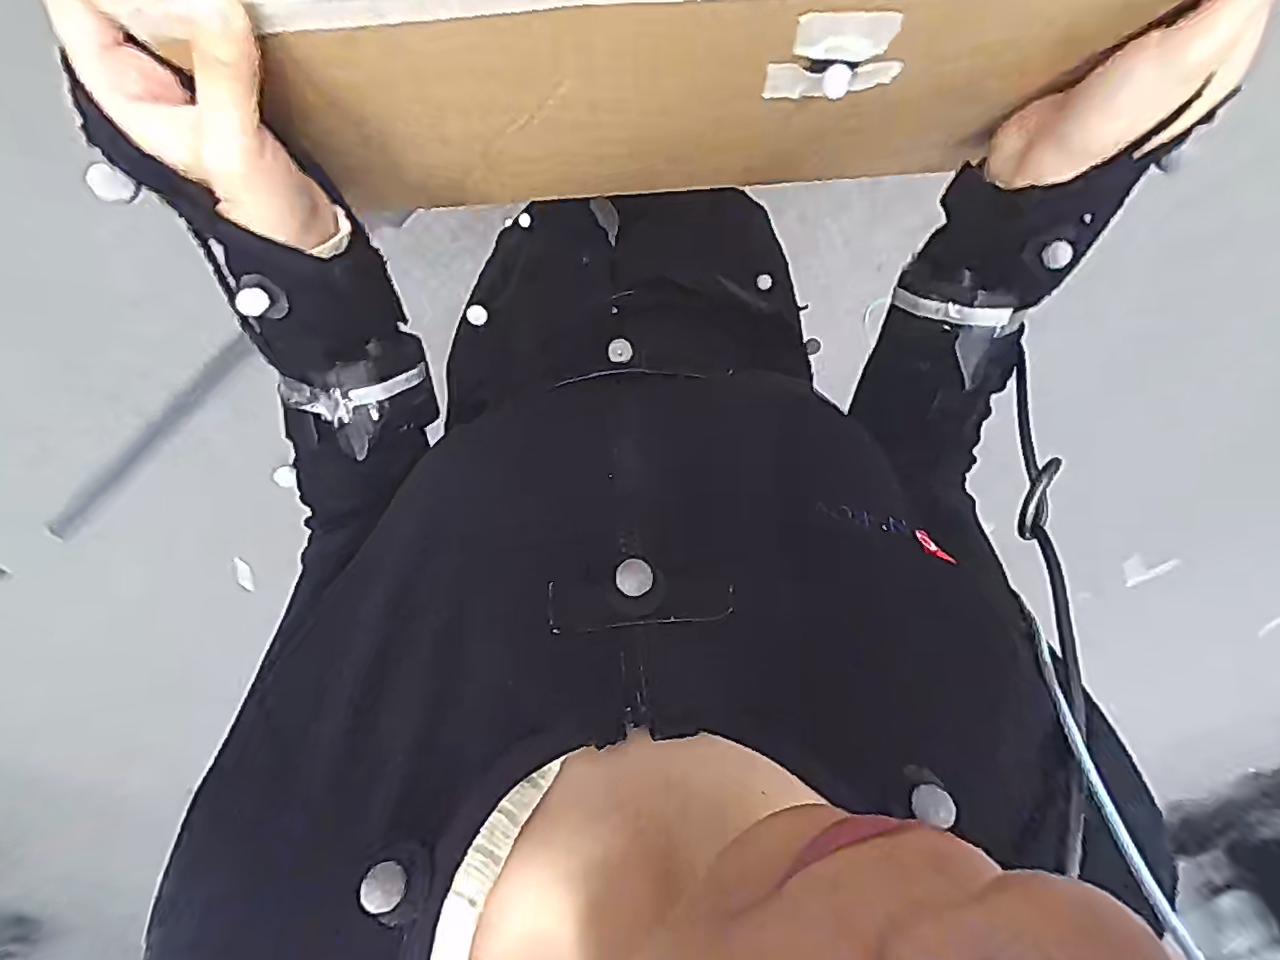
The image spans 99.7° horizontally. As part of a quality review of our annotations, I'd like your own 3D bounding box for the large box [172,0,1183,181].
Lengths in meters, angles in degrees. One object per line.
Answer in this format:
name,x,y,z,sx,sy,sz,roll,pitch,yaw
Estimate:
large box,0.017,-0.338,0.164,0.408,0.320,0.320,-4,92,0
